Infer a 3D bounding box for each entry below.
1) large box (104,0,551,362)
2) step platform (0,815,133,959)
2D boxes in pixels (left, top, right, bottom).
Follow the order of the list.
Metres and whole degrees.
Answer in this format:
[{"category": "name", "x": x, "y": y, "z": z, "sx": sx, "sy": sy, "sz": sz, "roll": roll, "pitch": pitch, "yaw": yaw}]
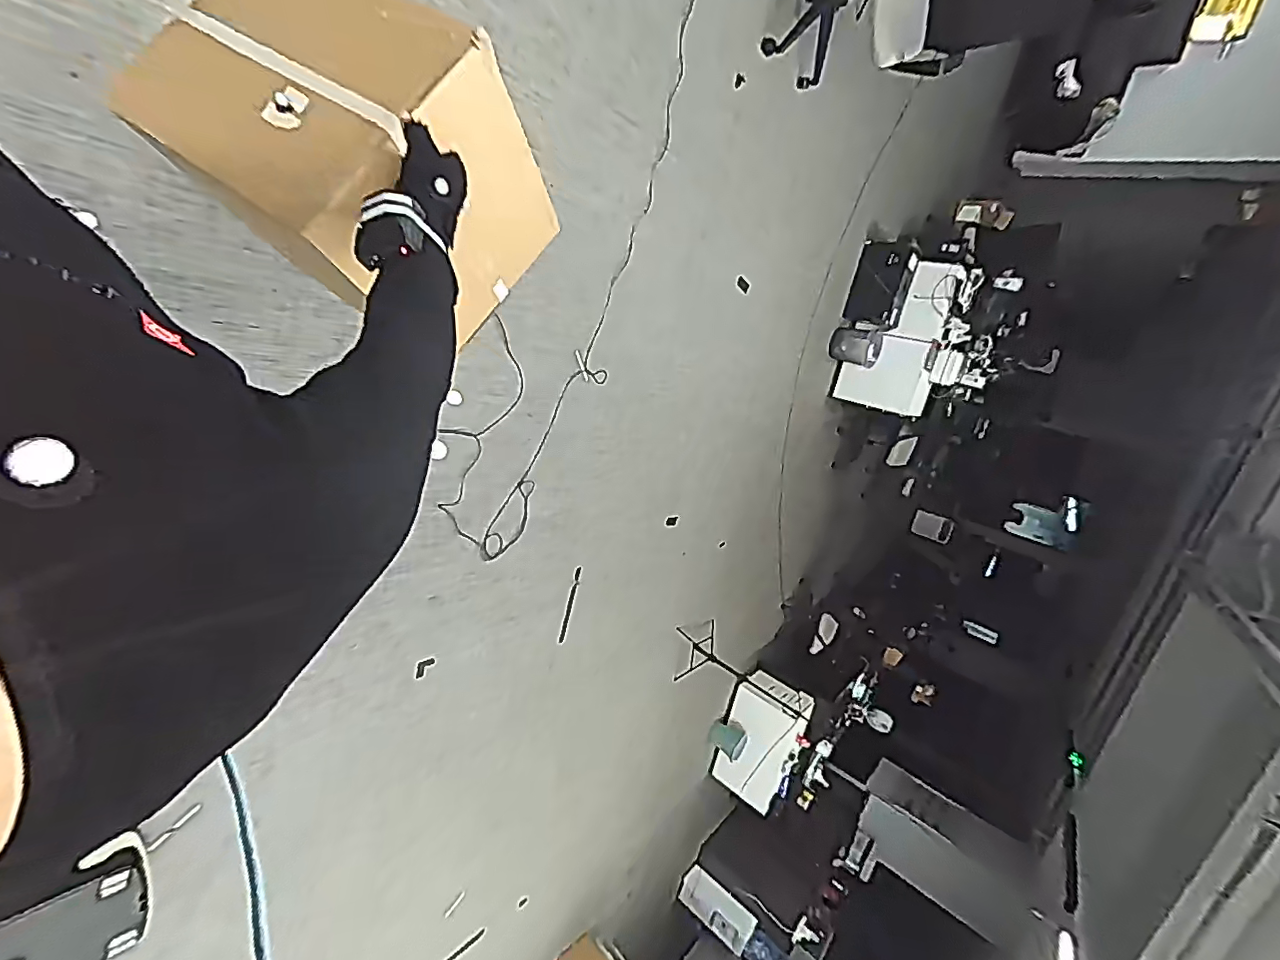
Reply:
[{"category": "large box", "x": -0.406, "y": -0.448, "z": 0.793, "sx": 0.320, "sy": 0.408, "sz": 0.320, "roll": -54, "pitch": 167, "yaw": -8}, {"category": "step platform", "x": -1.496, "y": 1.022, "z": 1.098, "sx": 0.684, "sy": 0.204, "sz": 0.286, "roll": -9, "pitch": 116, "yaw": -49}]
